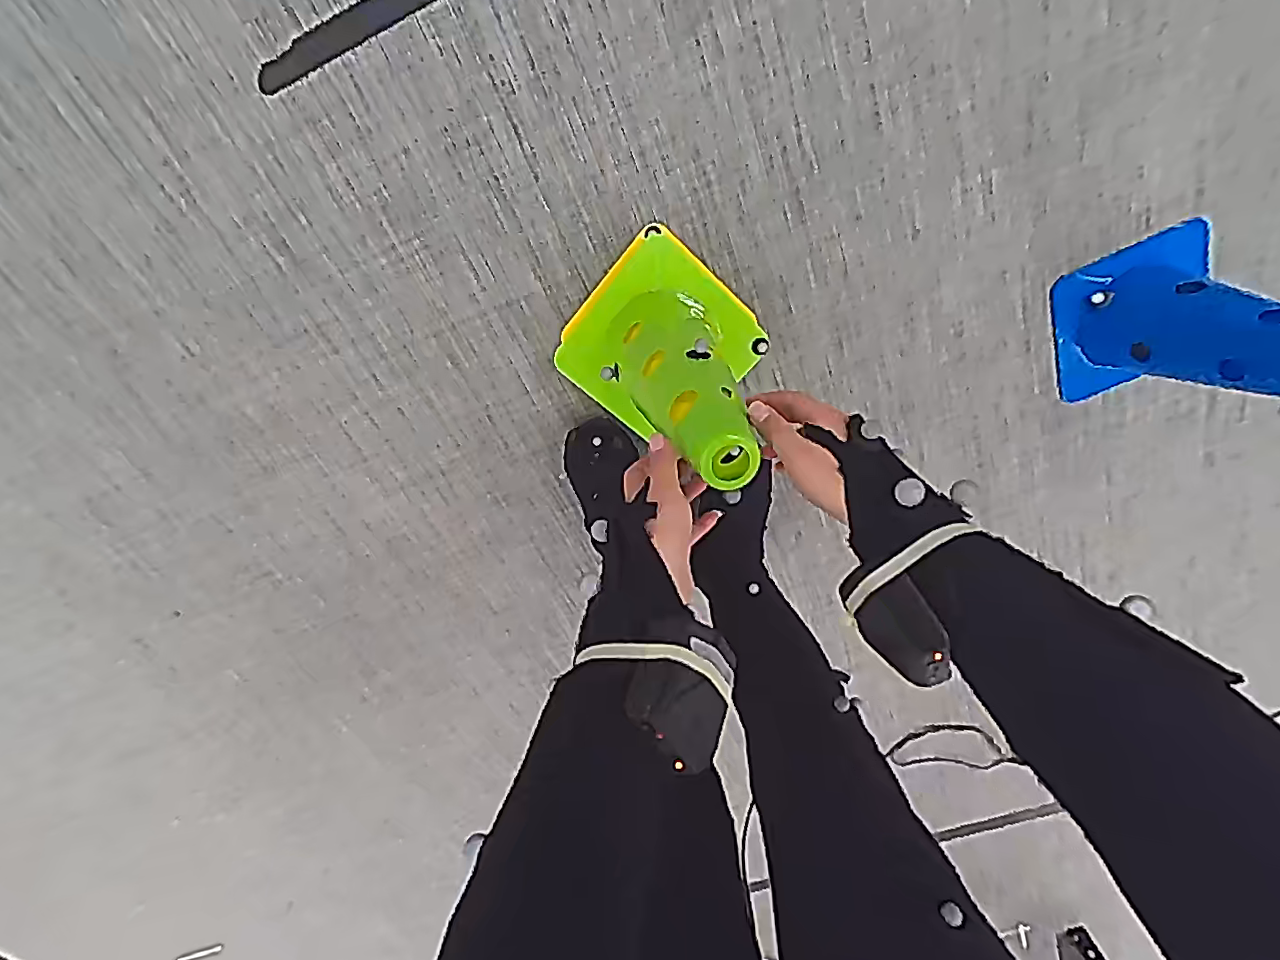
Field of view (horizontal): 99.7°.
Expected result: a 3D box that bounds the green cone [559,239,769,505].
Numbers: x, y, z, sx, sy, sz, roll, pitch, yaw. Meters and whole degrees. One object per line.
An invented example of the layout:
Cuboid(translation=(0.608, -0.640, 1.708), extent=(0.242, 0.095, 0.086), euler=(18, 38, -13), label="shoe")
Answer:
Cuboid(translation=(0.042, -0.081, 0.501), extent=(0.200, 0.368, 0.202), euler=(37, 107, -19), label="green cone")
